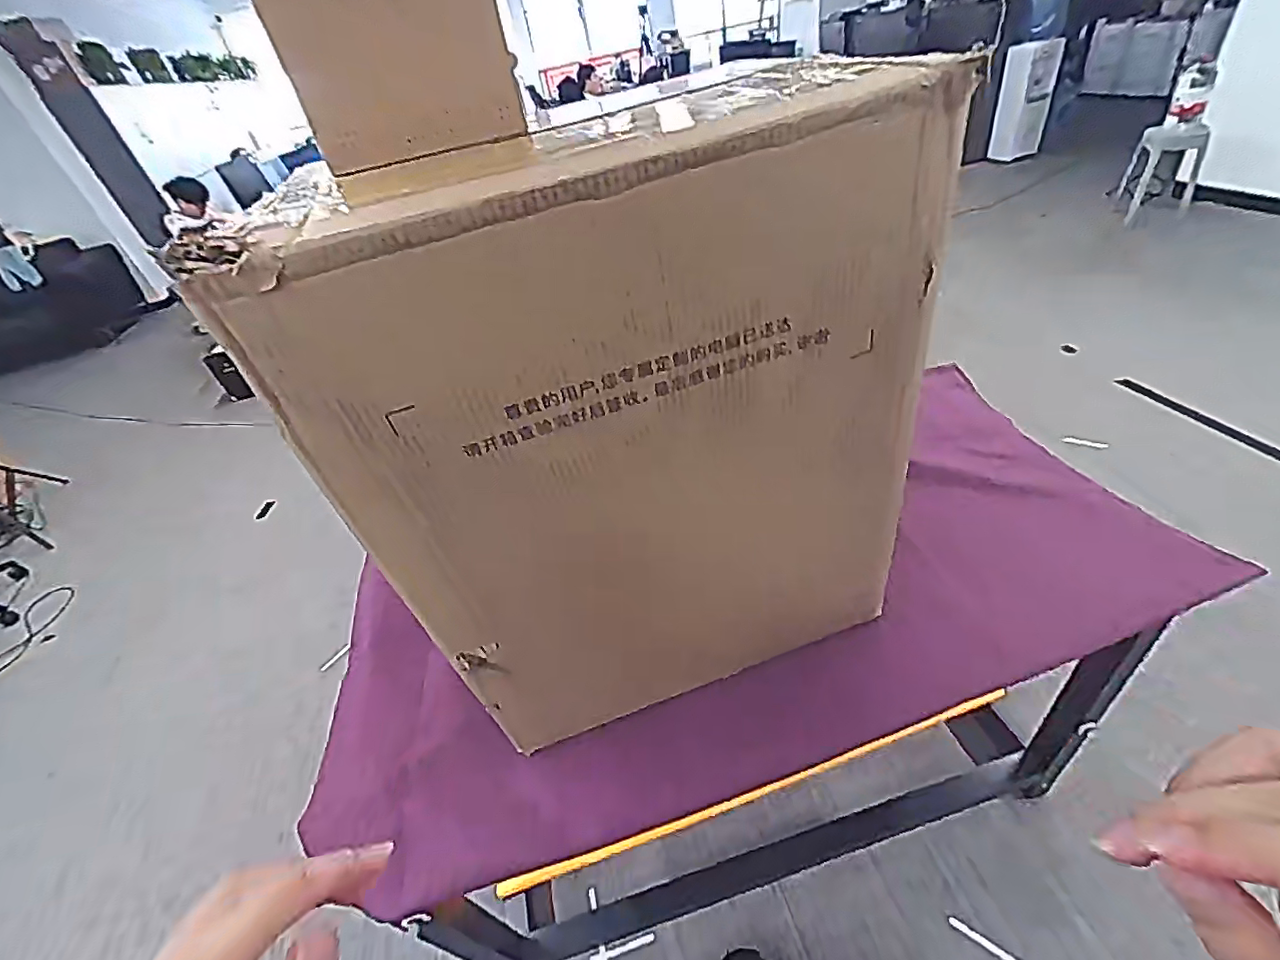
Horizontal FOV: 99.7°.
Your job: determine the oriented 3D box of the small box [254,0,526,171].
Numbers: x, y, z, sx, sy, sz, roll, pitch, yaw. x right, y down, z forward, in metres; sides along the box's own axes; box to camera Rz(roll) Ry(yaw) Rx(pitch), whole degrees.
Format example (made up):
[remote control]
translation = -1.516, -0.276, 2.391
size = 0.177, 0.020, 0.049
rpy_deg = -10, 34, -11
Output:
[small box]
translation = -0.218, -0.390, 0.478
size = 0.179, 0.176, 0.168
rpy_deg = -19, 40, -9
